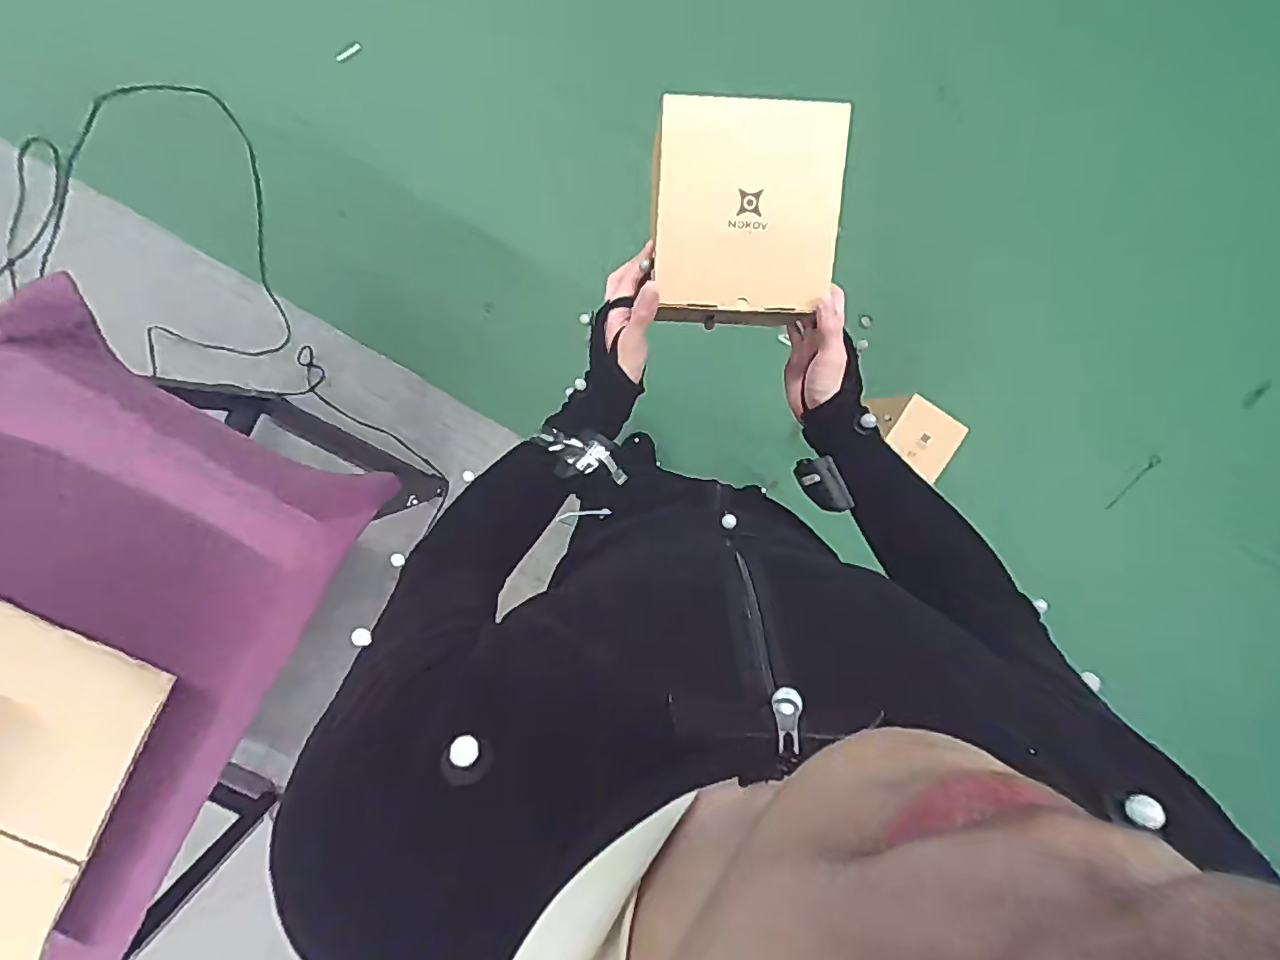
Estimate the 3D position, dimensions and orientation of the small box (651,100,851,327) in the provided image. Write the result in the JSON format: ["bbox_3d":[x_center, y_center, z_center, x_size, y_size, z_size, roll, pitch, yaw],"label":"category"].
[{"bbox_3d":[0.098,-0.256,0.561,0.168,0.176,0.179,1,104,-1],"label":"small box"}]

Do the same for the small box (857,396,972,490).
[{"bbox_3d":[0.695,-0.095,1.394,0.168,0.176,0.179,33,93,-4],"label":"small box"}]
